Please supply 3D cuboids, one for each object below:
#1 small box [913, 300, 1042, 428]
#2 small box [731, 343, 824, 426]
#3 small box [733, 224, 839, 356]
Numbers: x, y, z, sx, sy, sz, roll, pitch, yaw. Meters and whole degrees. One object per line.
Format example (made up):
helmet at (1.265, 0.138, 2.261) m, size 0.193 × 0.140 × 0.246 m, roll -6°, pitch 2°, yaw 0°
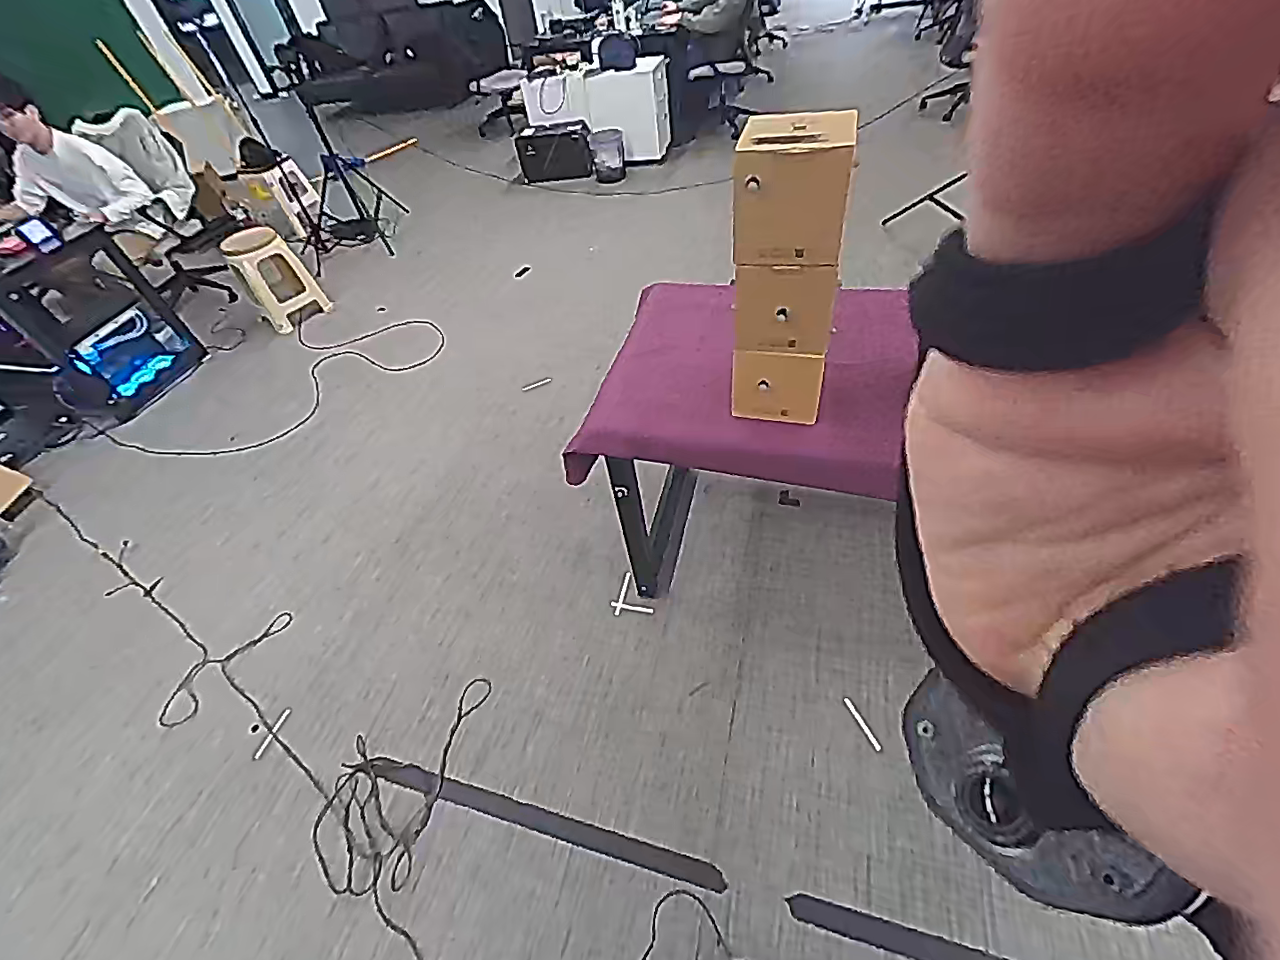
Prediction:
small box at (0.633, -0.221, 1.035) m, size 0.168 × 0.176 × 0.179 m, roll 10°, pitch 50°, yaw 17°
small box at (0.284, -0.230, 1.102) m, size 0.168 × 0.176 × 0.179 m, roll 8°, pitch 49°, yaw 16°
small box at (0.265, -0.344, 0.986) m, size 0.168 × 0.176 × 0.179 m, roll 7°, pitch 49°, yaw 14°
